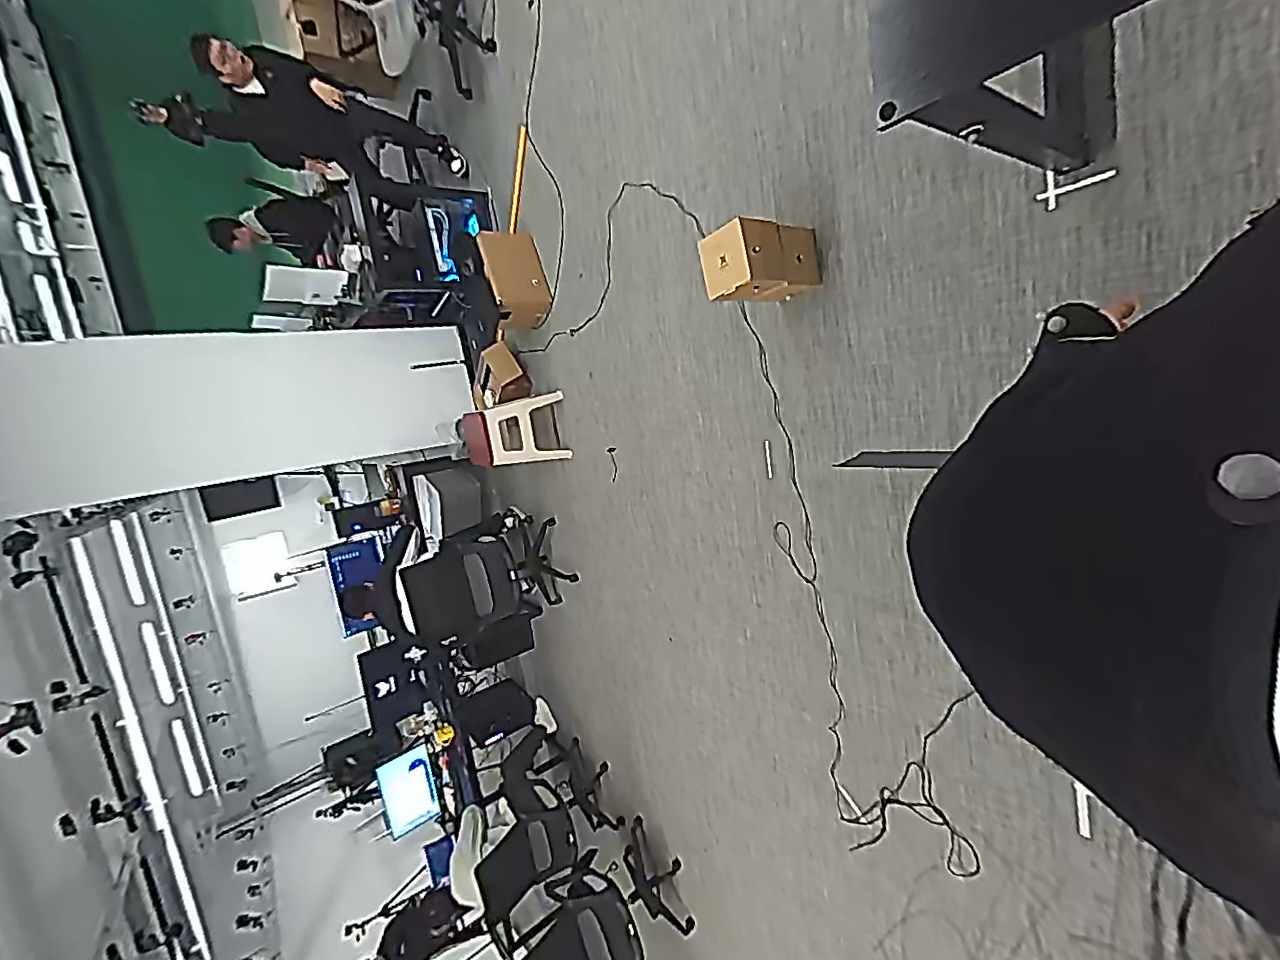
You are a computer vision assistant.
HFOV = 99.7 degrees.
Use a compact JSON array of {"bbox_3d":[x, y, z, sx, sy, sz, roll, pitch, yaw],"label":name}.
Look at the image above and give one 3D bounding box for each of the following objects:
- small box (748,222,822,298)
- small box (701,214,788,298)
[{"bbox_3d":[0.435,-0.669,1.660,0.168,0.176,0.179,-2,101,54],"label":"small box"},{"bbox_3d":[0.305,-0.642,1.566,0.168,0.176,0.179,-8,94,53],"label":"small box"}]
